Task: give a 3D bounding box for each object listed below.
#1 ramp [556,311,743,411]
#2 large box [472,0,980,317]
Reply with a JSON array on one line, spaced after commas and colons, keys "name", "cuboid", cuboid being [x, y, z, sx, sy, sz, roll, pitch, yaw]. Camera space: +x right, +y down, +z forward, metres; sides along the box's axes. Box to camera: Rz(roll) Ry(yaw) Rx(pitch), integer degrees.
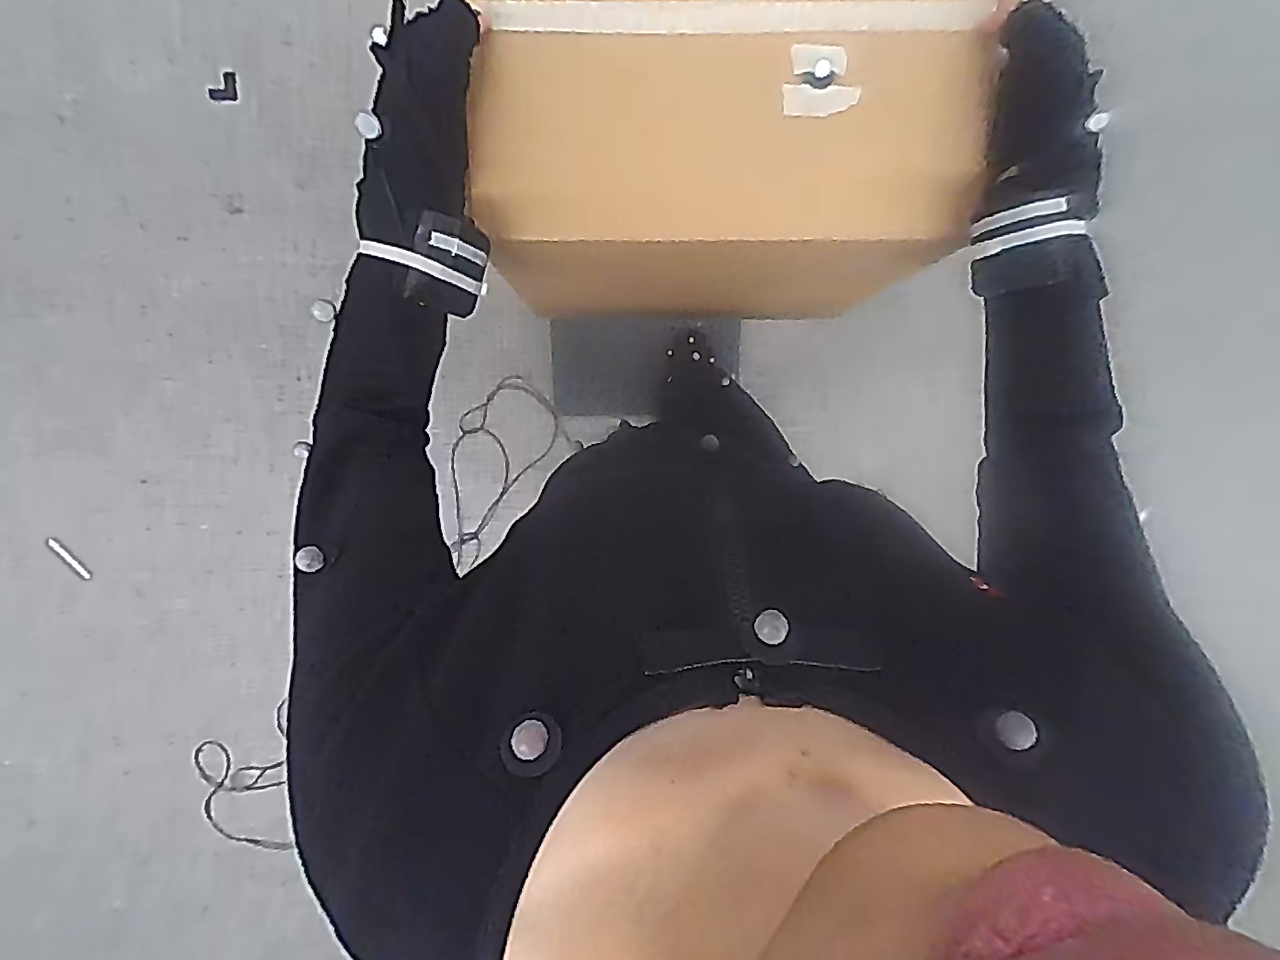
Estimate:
[{"name": "ramp", "cuboid": [0.024, -0.669, 1.325, 0.509, 0.206, 0.991, -3, 96, -3]}, {"name": "large box", "cuboid": [0.063, -0.365, 0.570, 0.408, 0.320, 0.320, -1, 95, -1]}]
